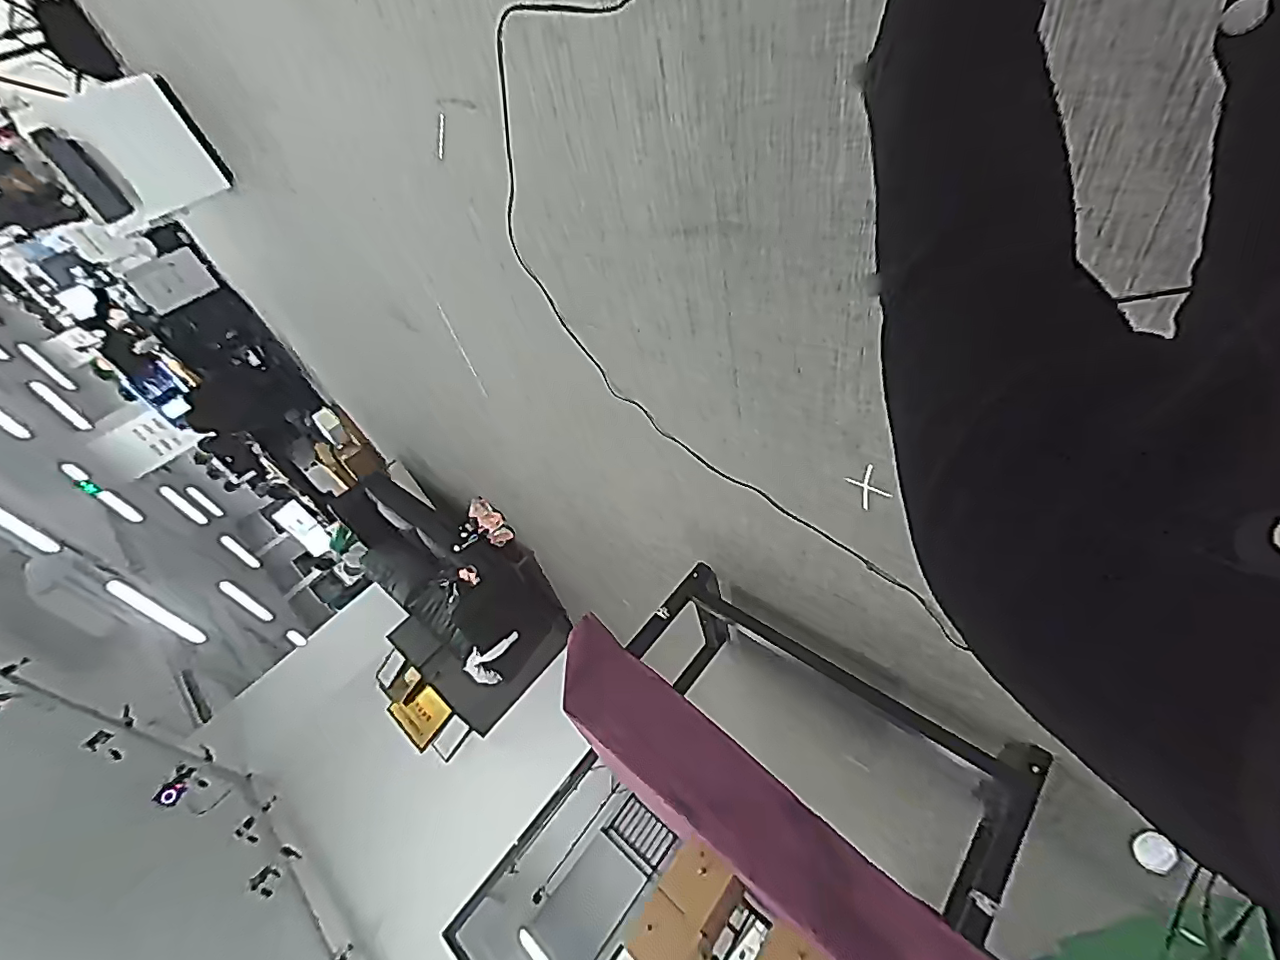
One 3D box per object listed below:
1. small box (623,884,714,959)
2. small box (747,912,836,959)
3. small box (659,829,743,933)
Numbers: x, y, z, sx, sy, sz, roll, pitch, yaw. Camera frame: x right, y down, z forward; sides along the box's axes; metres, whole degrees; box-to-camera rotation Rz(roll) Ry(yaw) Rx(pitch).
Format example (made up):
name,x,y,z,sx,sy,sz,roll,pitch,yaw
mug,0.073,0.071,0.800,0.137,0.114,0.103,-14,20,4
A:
name,x,y,z,sx,sy,sz,roll,pitch,yaw
small box,0.086,1.307,1.557,0.179,0.176,0.168,21,146,40
small box,0.406,1.304,1.448,0.179,0.176,0.168,25,148,38
small box,0.190,1.204,1.630,0.168,0.176,0.179,20,144,42
